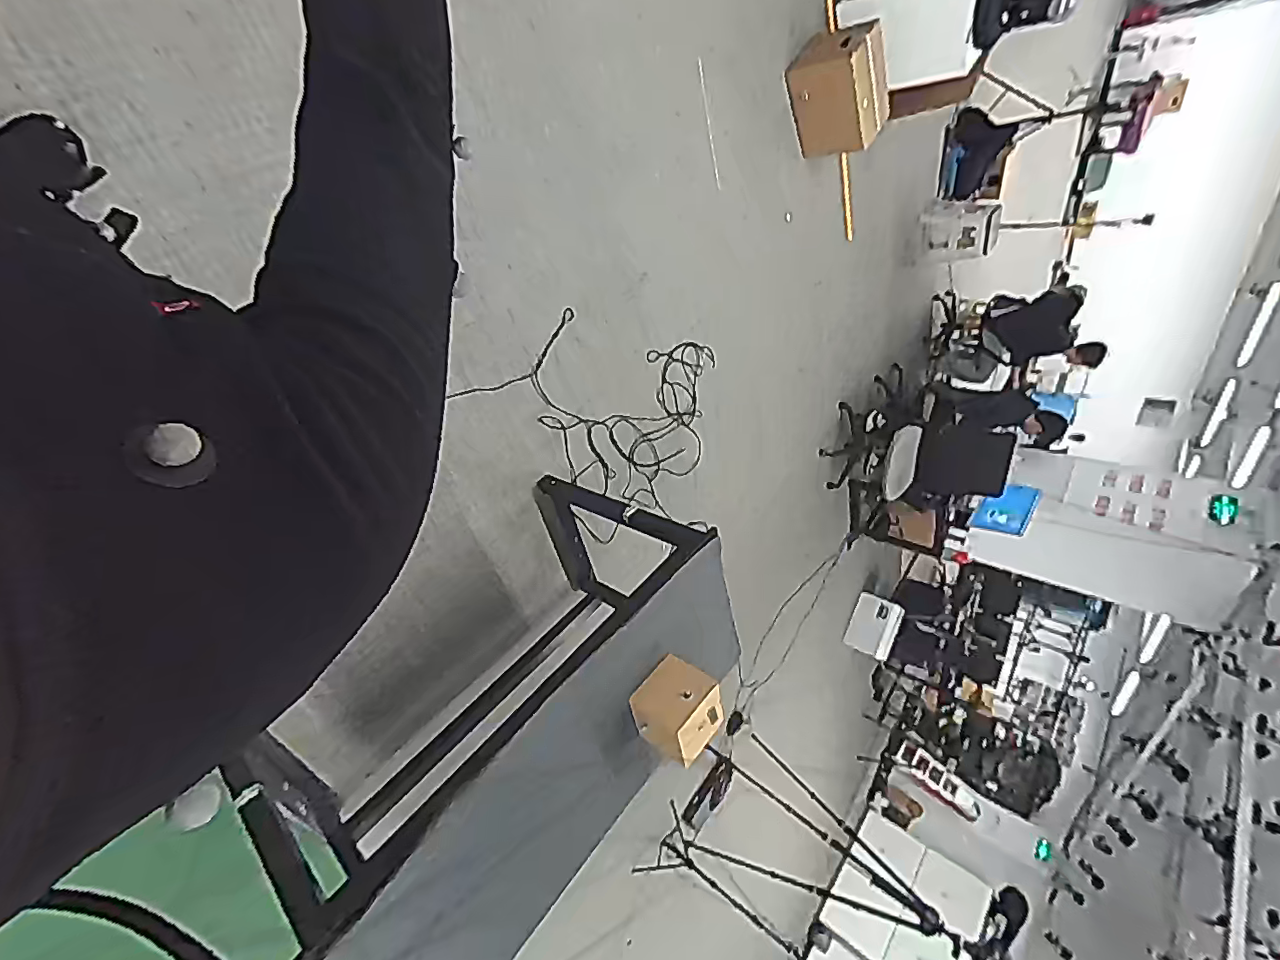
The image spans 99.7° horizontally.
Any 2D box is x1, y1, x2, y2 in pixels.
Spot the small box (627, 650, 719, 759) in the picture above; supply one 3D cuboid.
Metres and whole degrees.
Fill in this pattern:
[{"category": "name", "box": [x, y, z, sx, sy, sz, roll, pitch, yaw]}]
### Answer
[{"category": "small box", "box": [0.090, 0.593, 1.452, 0.179, 0.176, 0.168, -39, 131, -34]}]
